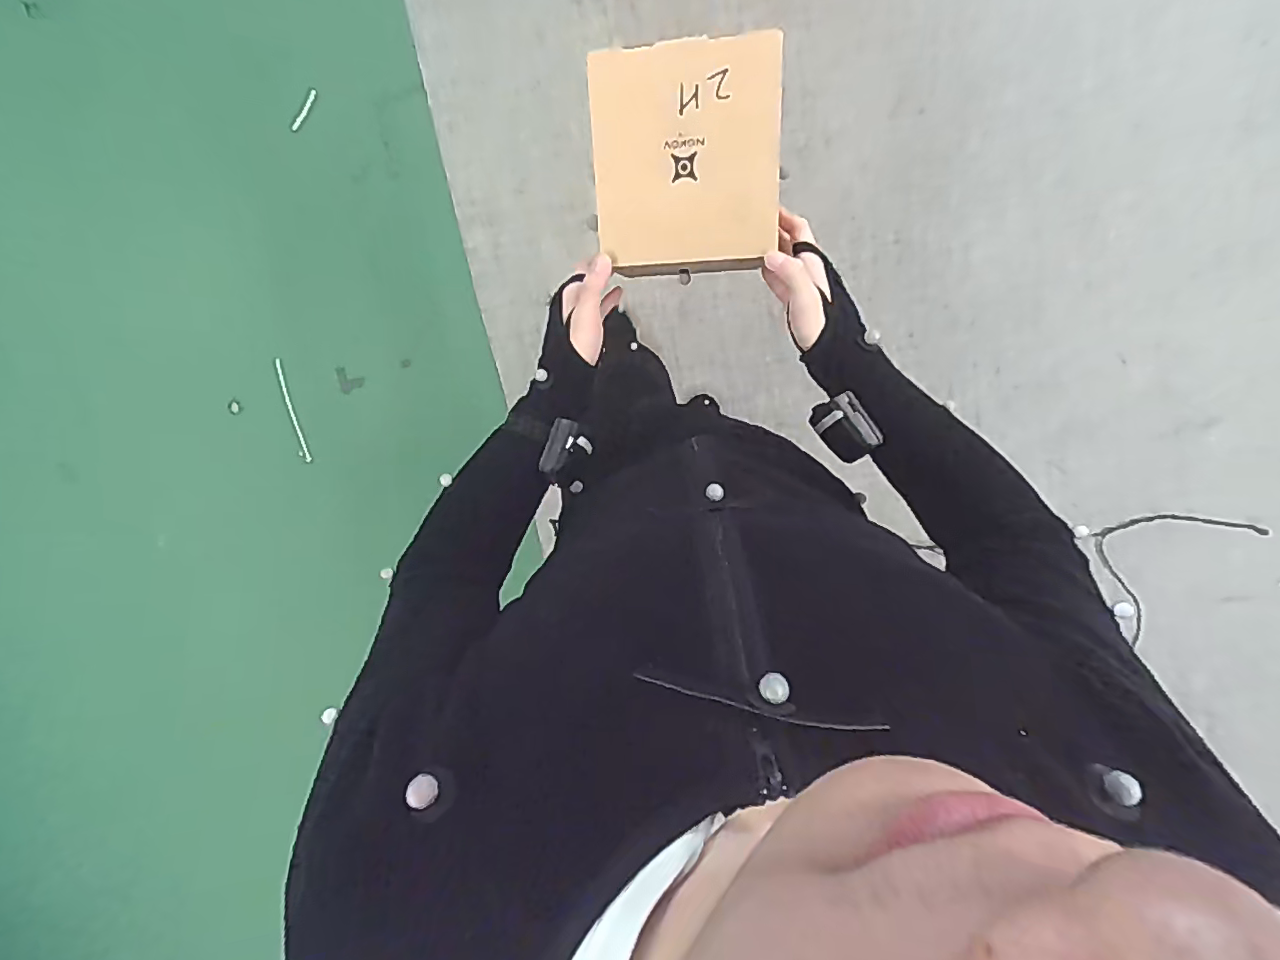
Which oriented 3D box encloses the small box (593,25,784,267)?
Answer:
[{"bbox_3d":[0.052,-0.319,0.558,0.168,0.176,0.179,-1,107,7],"label":"small box"}]
